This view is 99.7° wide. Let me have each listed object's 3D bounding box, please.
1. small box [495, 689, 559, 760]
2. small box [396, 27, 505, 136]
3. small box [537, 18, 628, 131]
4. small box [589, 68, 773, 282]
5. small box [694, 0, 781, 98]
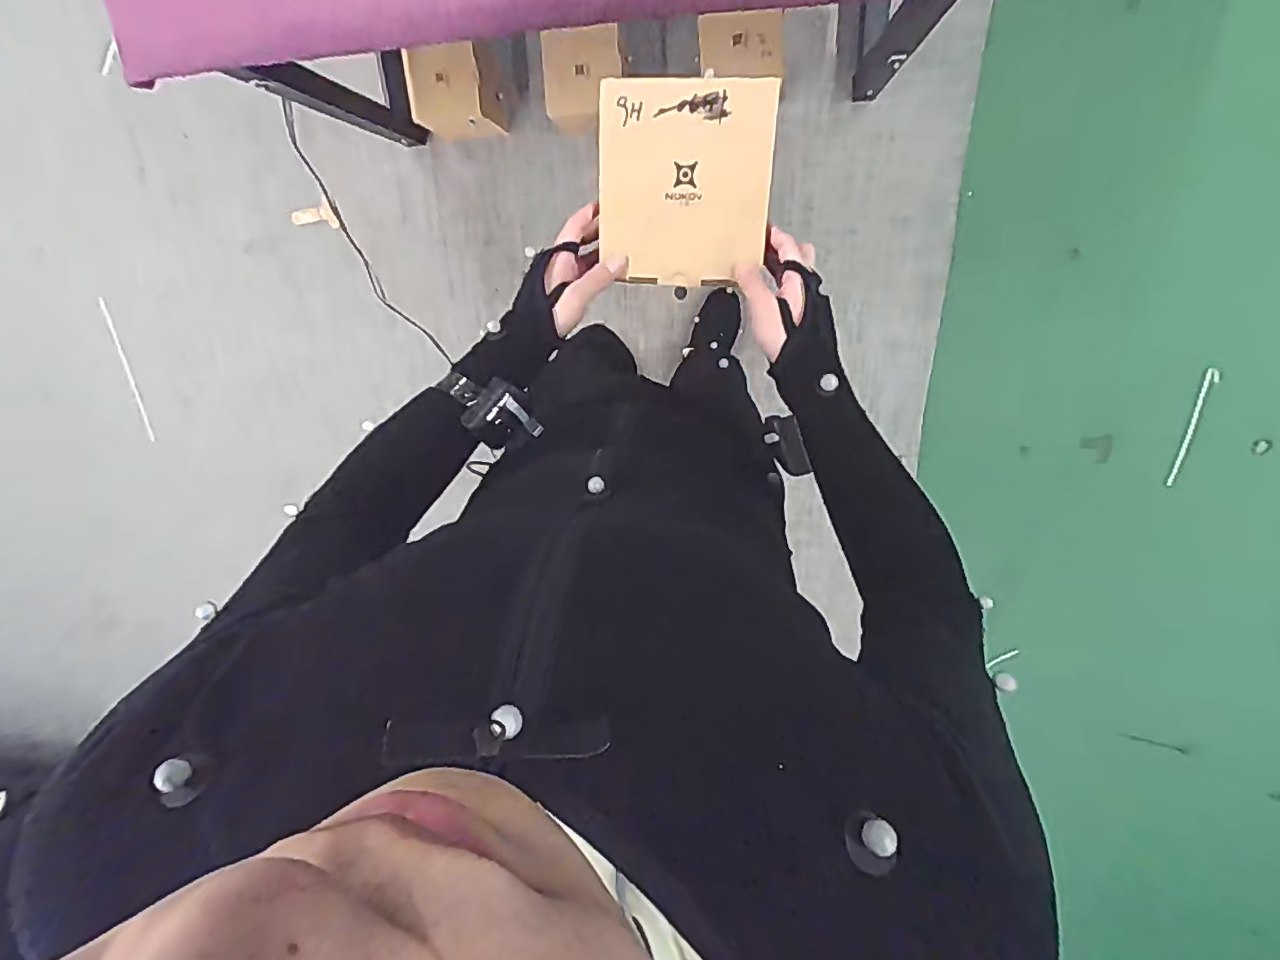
[{"bbox_3d":[-0.411,0.891,1.981,0.179,0.176,0.168,1,111,8],"label":"small box"},{"bbox_3d":[-0.444,-0.941,1.292,0.179,0.176,0.168,0,111,9],"label":"small box"},{"bbox_3d":[-0.122,-0.924,1.247,0.179,0.176,0.168,2,110,9],"label":"small box"},{"bbox_3d":[0.043,-0.311,0.583,0.168,0.176,0.179,4,110,5],"label":"small box"},{"bbox_3d":[0.215,-0.939,1.186,0.179,0.176,0.168,-2,111,10],"label":"small box"}]
